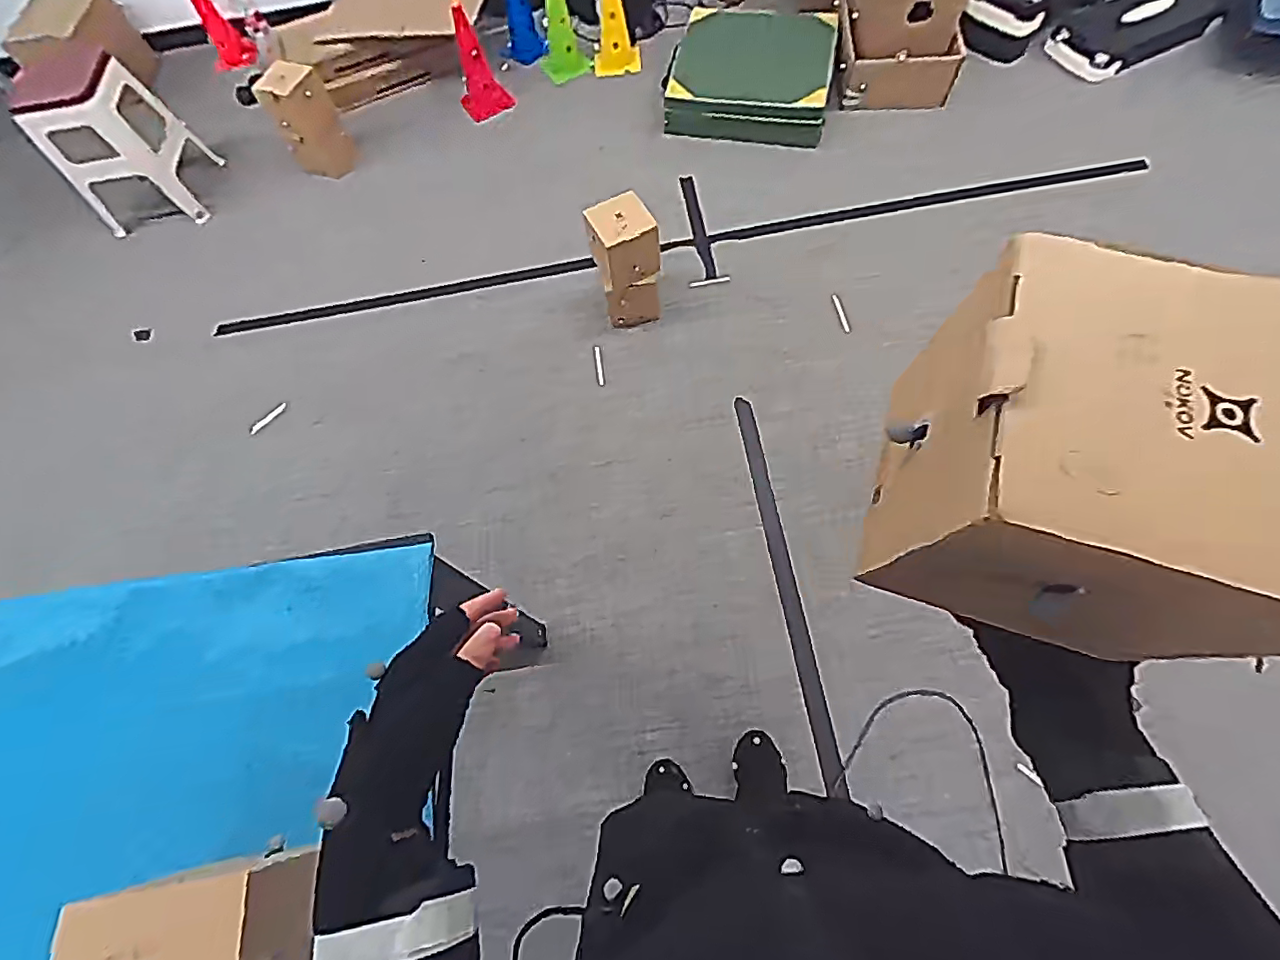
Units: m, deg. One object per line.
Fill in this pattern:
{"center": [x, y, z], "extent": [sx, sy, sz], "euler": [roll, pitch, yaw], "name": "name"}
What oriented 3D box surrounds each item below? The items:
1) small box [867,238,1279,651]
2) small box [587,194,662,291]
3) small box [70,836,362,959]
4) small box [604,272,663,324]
{"center": [0.255, -0.004, 0.318], "extent": [0.179, 0.176, 0.168], "euler": [15, 72, 7], "name": "small box"}
{"center": [-0.043, -0.705, 1.614], "extent": [0.168, 0.176, 0.179], "euler": [-24, 68, -4], "name": "small box"}
{"center": [-0.389, 0.468, 0.514], "extent": [0.168, 0.176, 0.179], "euler": [-11, 65, 1], "name": "small box"}
{"center": [-0.022, -0.628, 1.759], "extent": [0.168, 0.176, 0.179], "euler": [-11, 64, 1], "name": "small box"}
